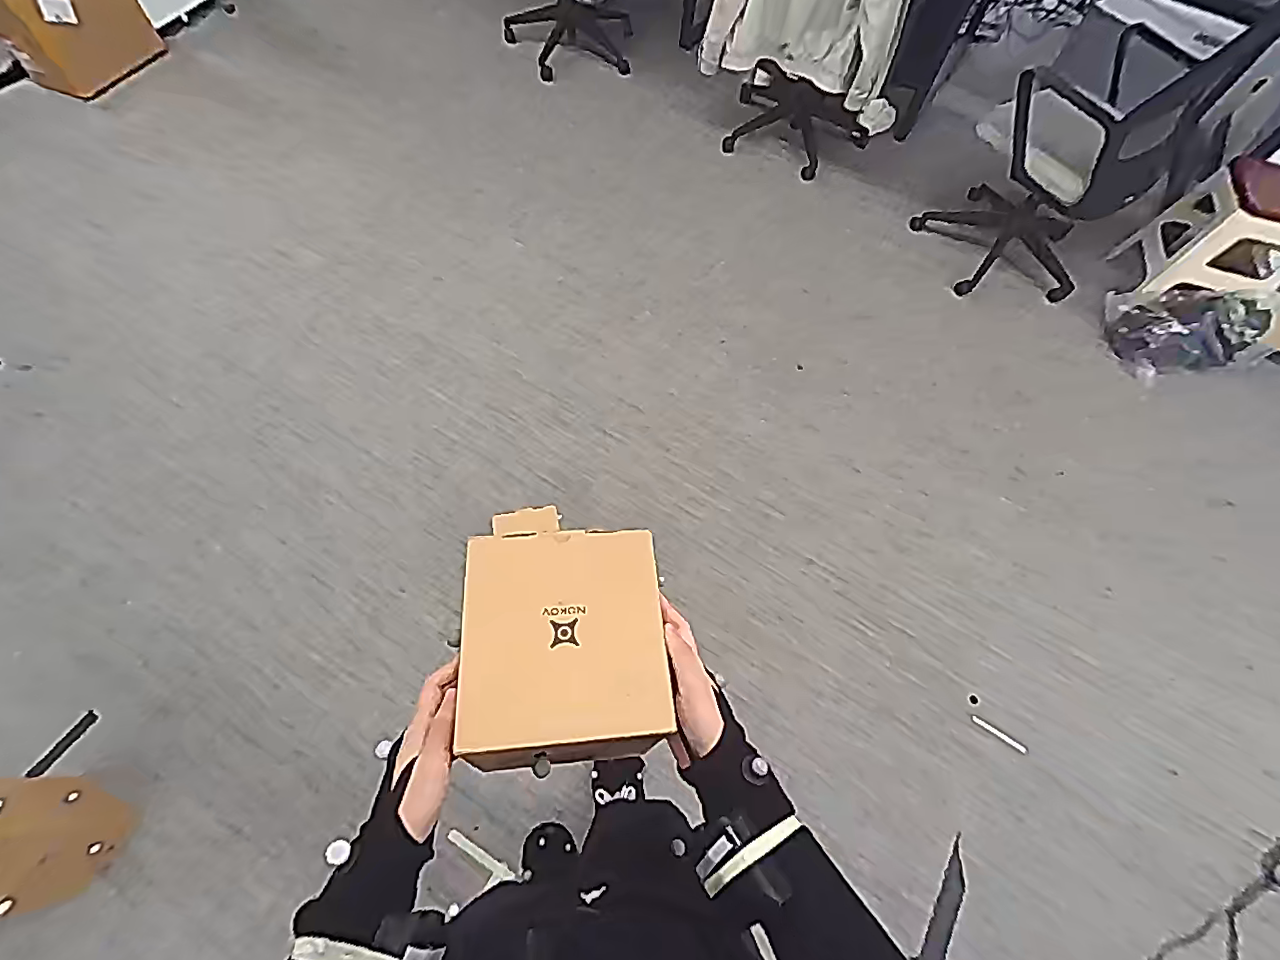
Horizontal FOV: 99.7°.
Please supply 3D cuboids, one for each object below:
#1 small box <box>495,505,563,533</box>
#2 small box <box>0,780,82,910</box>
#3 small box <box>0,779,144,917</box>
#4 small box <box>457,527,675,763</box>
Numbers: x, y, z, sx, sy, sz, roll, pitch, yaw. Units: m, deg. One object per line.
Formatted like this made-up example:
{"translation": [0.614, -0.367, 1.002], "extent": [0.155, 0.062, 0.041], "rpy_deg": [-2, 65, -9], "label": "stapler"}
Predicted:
{"translation": [-0.279, 0.188, 1.422], "extent": [0.168, 0.176, 0.179], "rpy_deg": [-10, 65, -10], "label": "small box"}
{"translation": [-1.171, 0.650, 0.951], "extent": [0.179, 0.176, 0.168], "rpy_deg": [27, 65, 10], "label": "small box"}
{"translation": [-1.184, 0.727, 1.097], "extent": [0.179, 0.176, 0.168], "rpy_deg": [26, 64, 10], "label": "small box"}
{"translation": [-0.068, 0.161, 0.512], "extent": [0.168, 0.176, 0.179], "rpy_deg": [-2, 57, -9], "label": "small box"}
